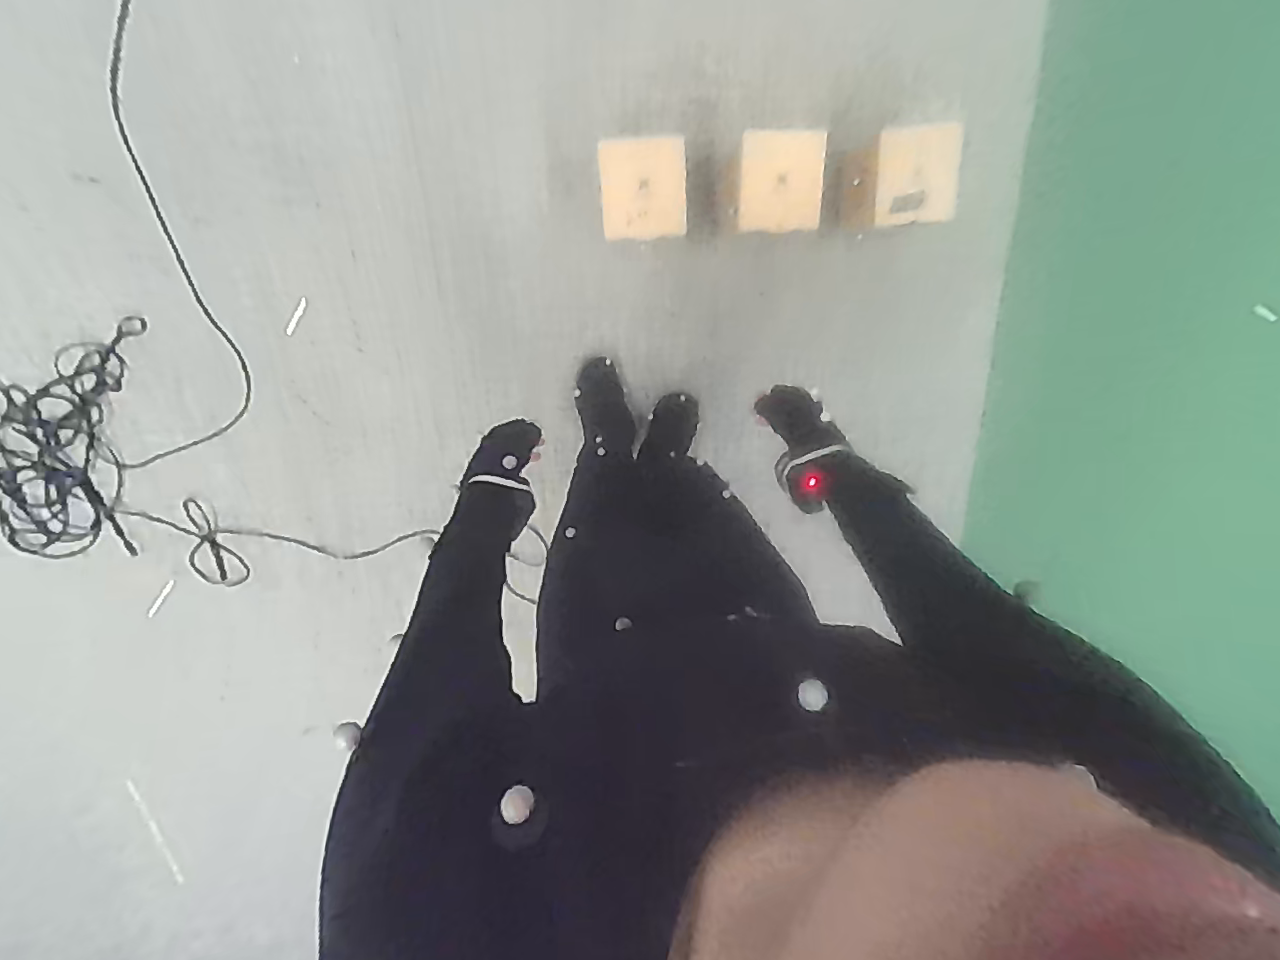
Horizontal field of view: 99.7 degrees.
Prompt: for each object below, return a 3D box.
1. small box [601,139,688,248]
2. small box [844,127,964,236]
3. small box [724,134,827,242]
[{"bbox_3d":[0.007,-0.584,1.119,0.168,0.176,0.179,-3,110,0],"label":"small box"},{"bbox_3d":[0.543,-0.616,1.136,0.168,0.176,0.179,-5,109,-1],"label":"small box"},{"bbox_3d":[0.274,-0.601,1.129,0.168,0.176,0.179,-2,110,-2],"label":"small box"}]
